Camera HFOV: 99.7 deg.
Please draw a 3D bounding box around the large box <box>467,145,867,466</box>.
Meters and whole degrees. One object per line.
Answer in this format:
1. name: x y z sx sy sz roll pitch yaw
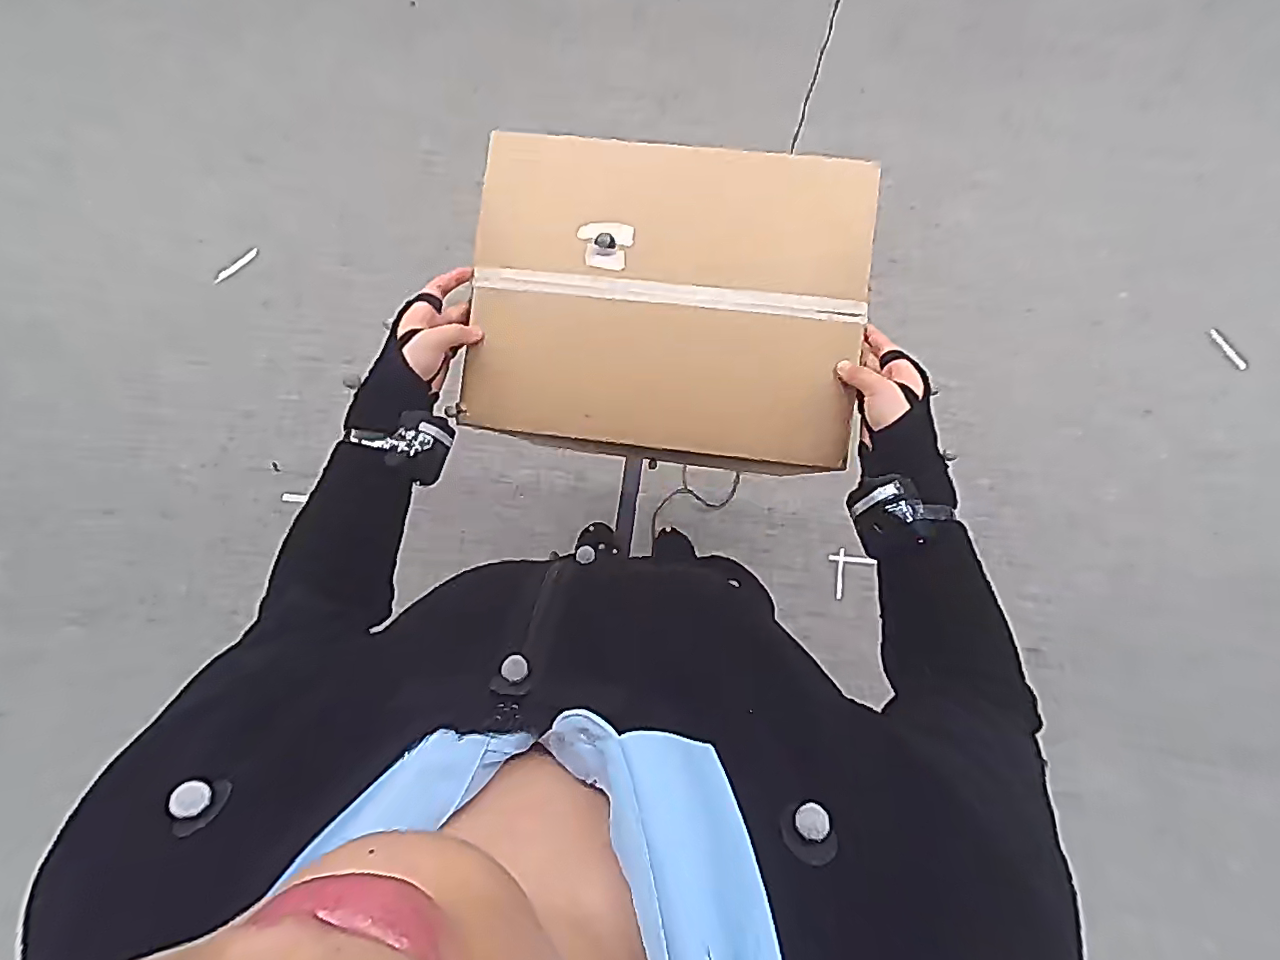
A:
1. large box: 0.036 -0.190 0.718 0.408 0.320 0.320 7 89 4
